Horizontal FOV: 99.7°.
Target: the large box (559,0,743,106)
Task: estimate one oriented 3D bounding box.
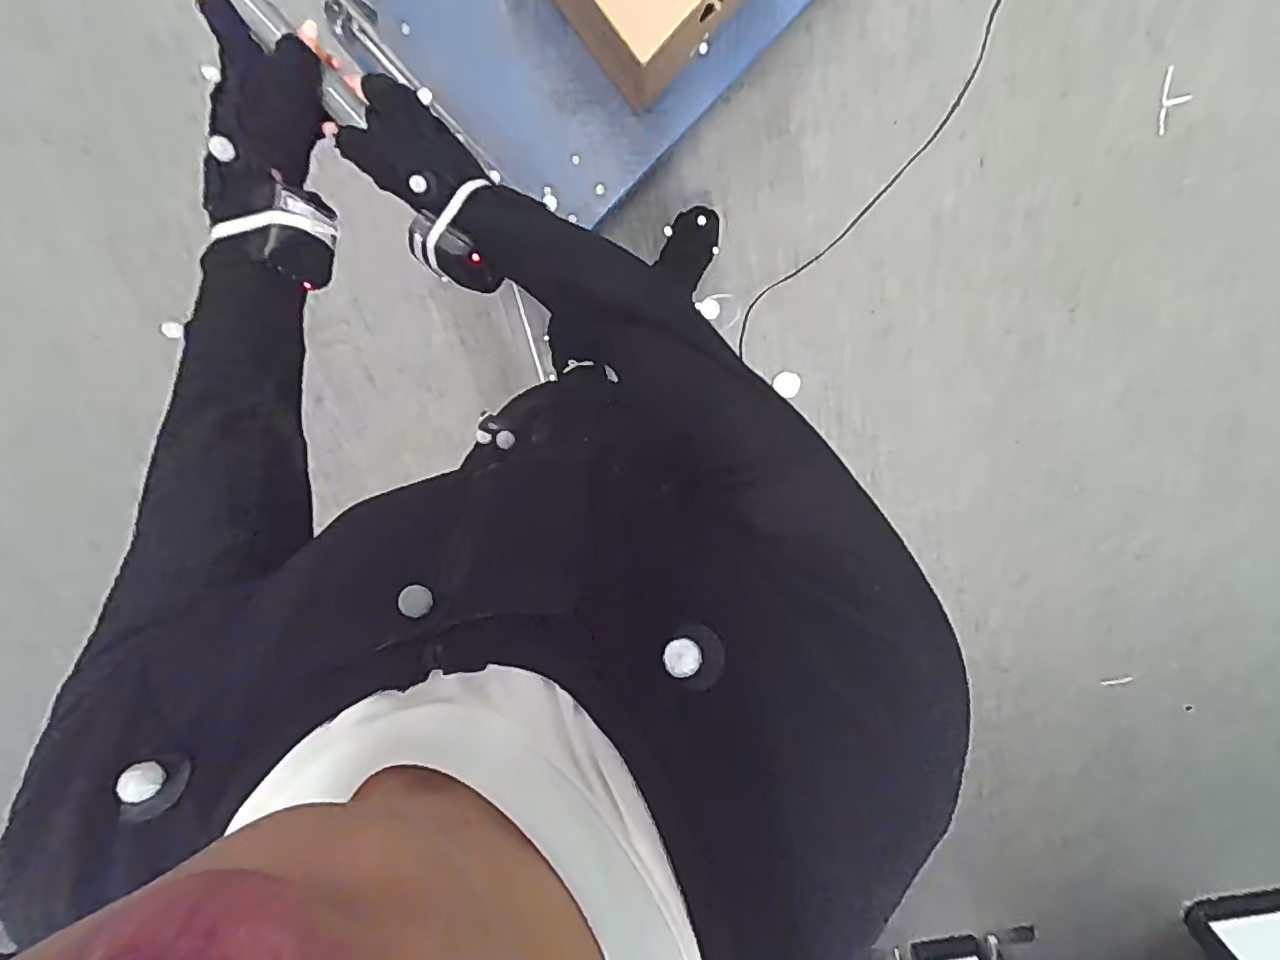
[{"bbox_3d":[-0.016,-0.877,0.802,0.320,0.320,0.408,-40,107,14],"label":"large box"}]
